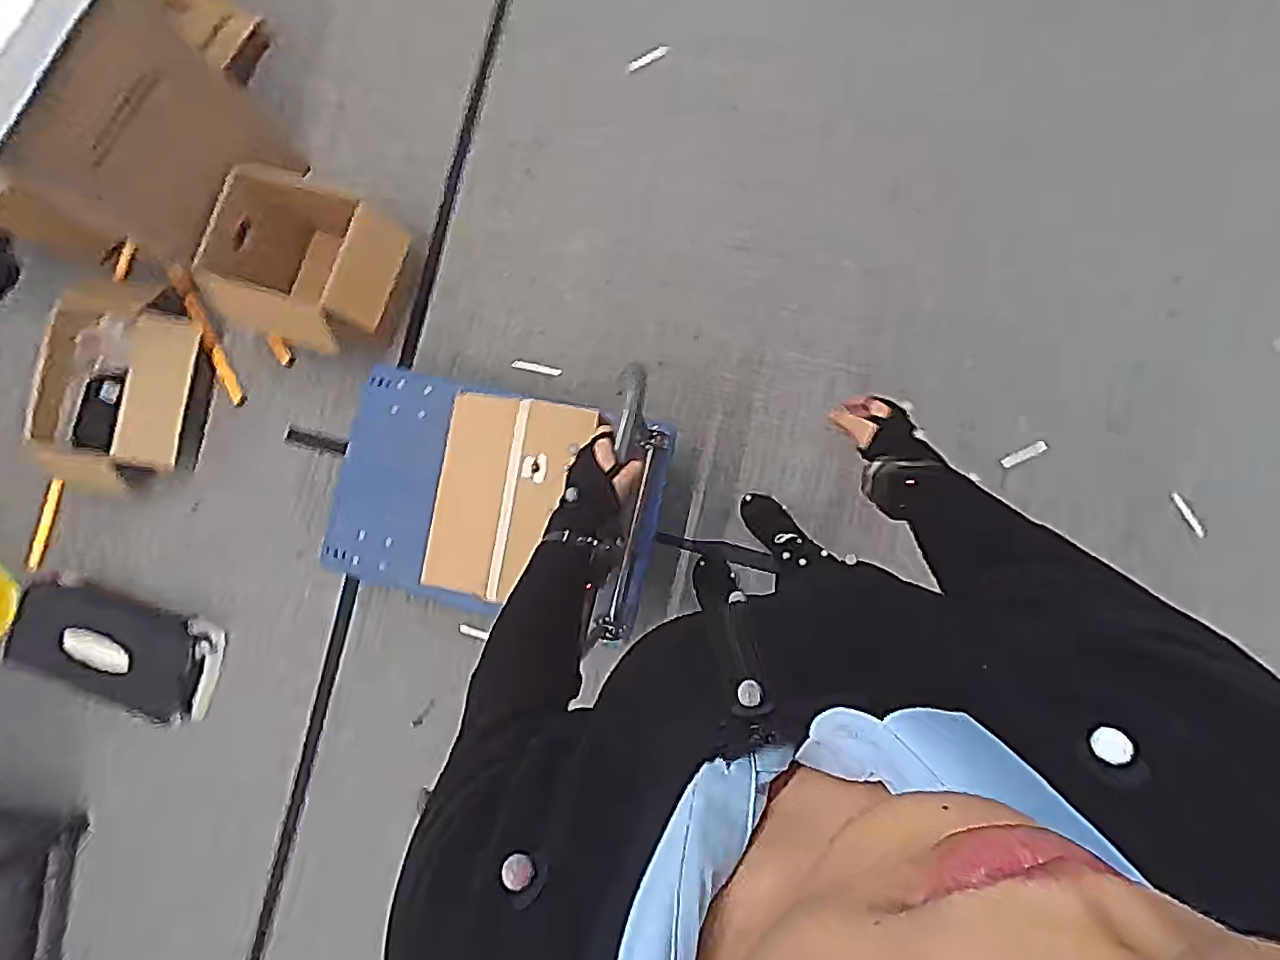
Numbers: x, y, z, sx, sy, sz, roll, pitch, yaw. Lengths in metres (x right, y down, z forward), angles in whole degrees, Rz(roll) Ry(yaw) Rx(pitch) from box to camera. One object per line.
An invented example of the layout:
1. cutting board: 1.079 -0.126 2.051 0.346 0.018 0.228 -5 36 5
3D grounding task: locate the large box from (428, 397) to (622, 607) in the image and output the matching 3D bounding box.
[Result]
1. large box: -0.240 0.056 1.245 0.320 0.320 0.408 8 85 8
